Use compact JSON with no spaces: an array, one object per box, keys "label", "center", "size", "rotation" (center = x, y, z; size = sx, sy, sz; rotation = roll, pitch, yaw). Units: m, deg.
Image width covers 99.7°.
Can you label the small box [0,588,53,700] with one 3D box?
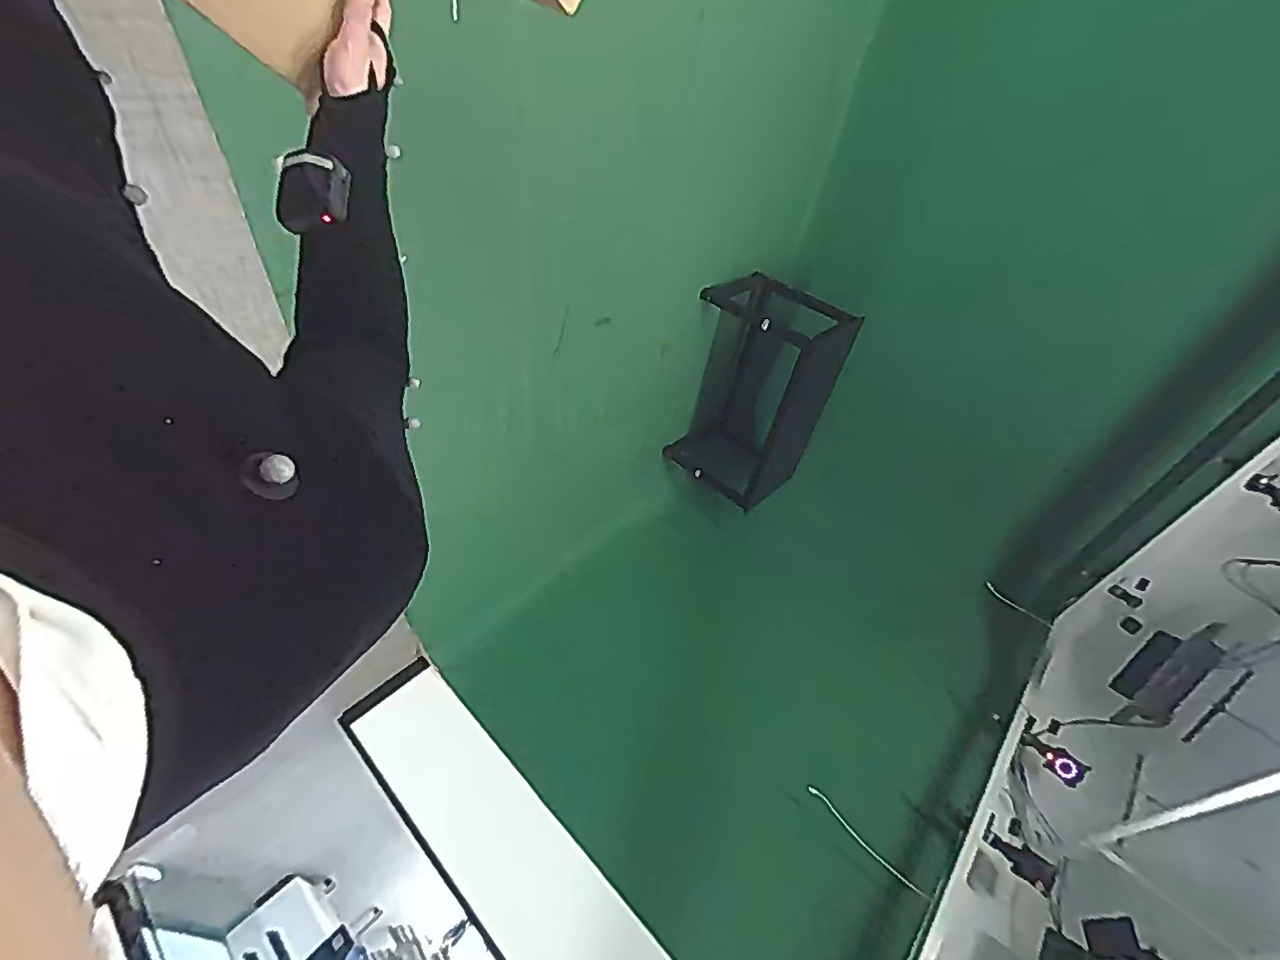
[{"label":"small box","center":[-1.409,0.362,1.149],"size":[0.168,0.176,0.179],"rotation":[-25,142,-41]}]

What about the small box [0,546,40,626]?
[{"label":"small box","center":[-1.521,0.268,1.222],"size":[0.168,0.176,0.179],"rotation":[-27,143,-37]}]
